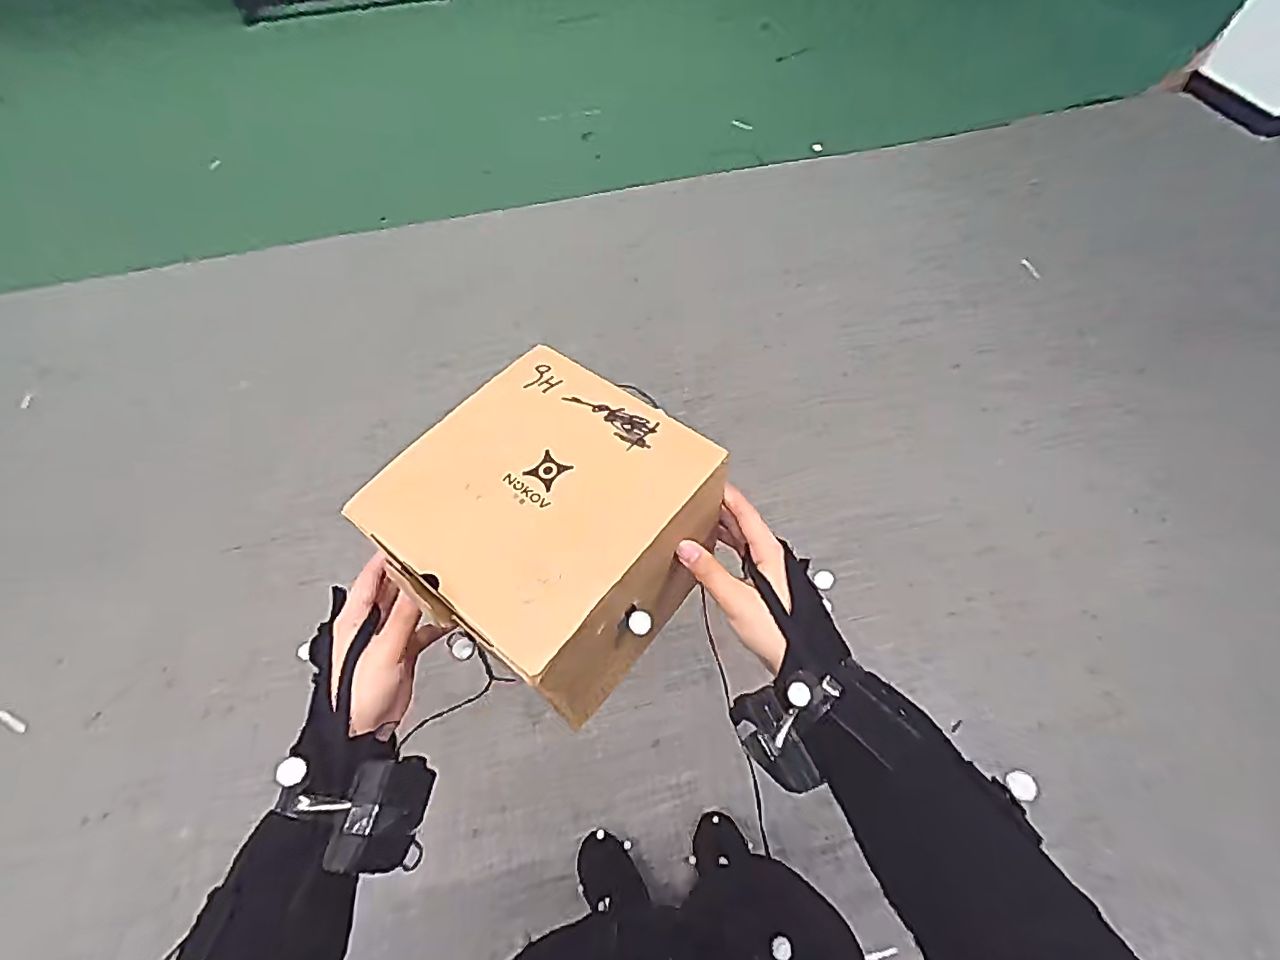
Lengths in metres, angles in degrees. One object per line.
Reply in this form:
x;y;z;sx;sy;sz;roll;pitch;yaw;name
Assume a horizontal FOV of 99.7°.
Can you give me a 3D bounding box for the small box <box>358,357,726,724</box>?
-0.054;0.051;0.400;0.168;0.176;0.179;34;65;22;small box
